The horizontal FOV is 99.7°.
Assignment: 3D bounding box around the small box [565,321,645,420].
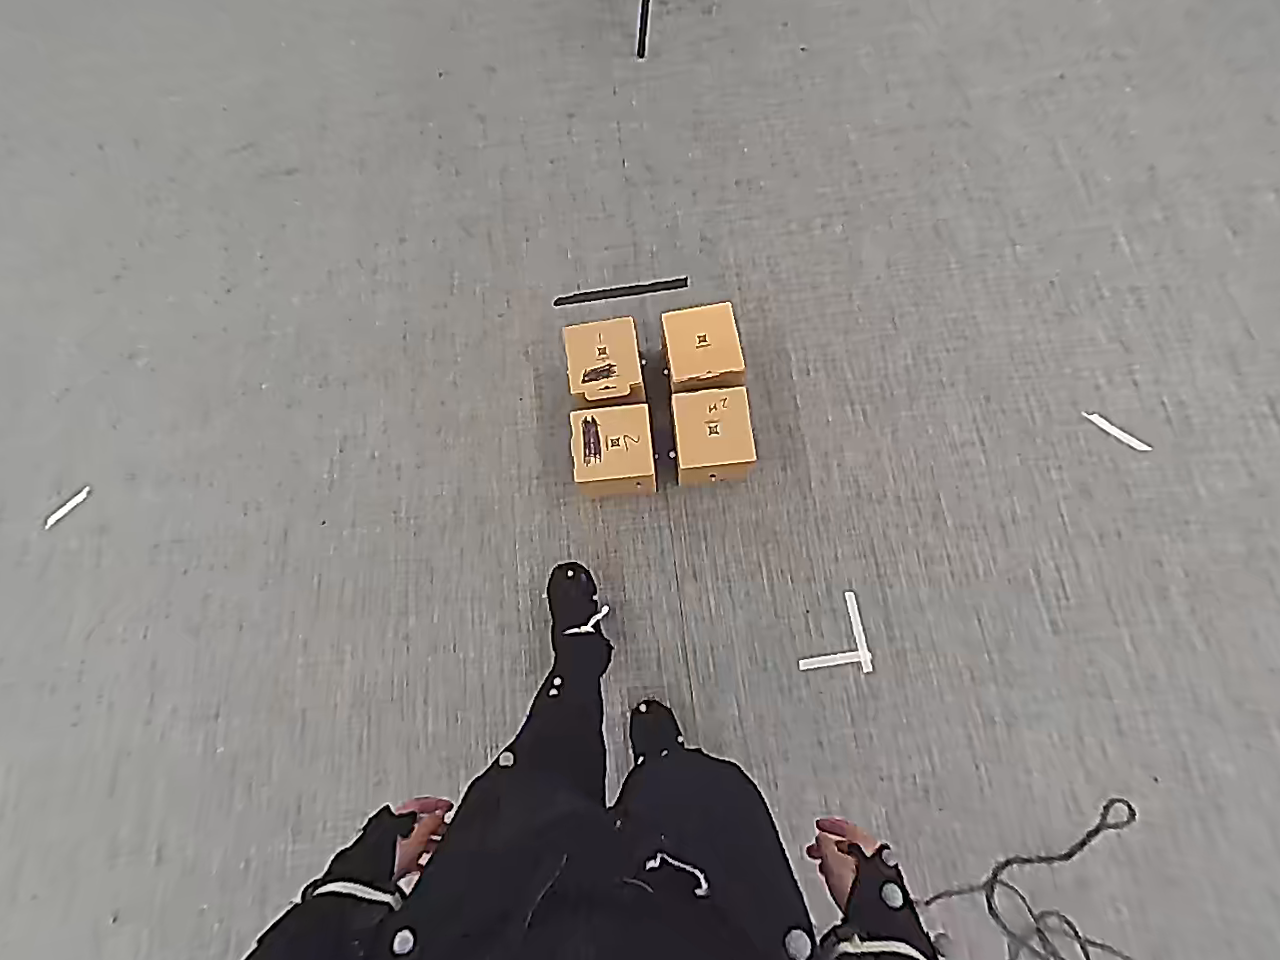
[{"bbox_3d":[-0.081,-0.254,1.306,0.168,0.176,0.179,-8,73,1],"label":"small box"}]
